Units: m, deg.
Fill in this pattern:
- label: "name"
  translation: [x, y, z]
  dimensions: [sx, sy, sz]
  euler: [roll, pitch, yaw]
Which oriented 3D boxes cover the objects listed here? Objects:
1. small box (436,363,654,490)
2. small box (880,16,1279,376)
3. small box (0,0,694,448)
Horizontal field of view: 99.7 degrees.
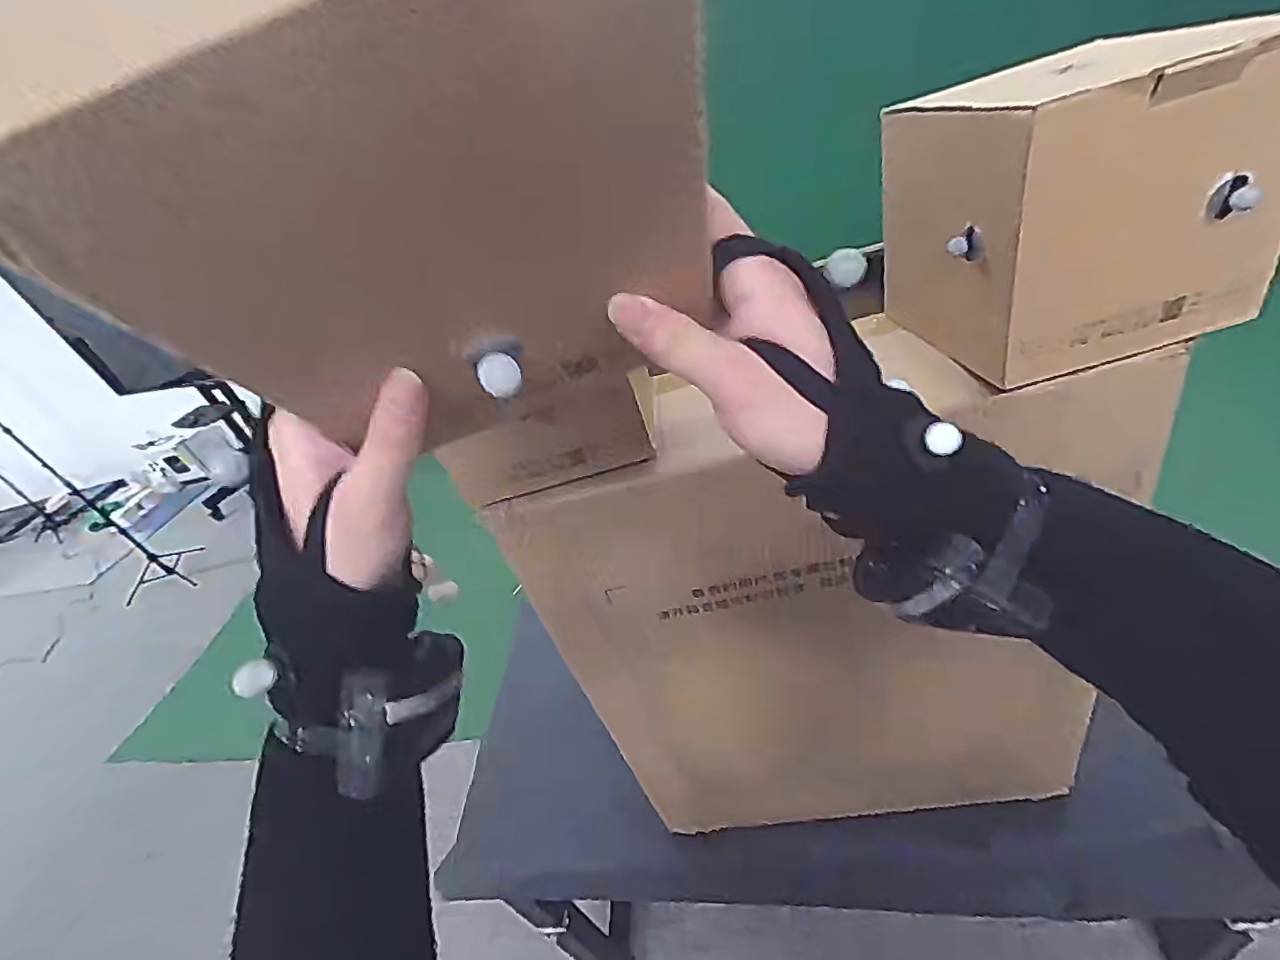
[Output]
- label: "small box"
  translation: [-0.090, -0.109, 0.466]
  dimensions: [0.168, 0.176, 0.179]
  euler: [-16, 34, 9]
- label: "small box"
  translation: [0.290, -0.189, 0.383]
  dimensions: [0.168, 0.176, 0.179]
  euler: [-15, 33, 4]
- label: "small box"
  translation: [-0.087, -0.137, 0.203]
  dimensions: [0.168, 0.176, 0.179]
  euler: [-21, 72, 3]
